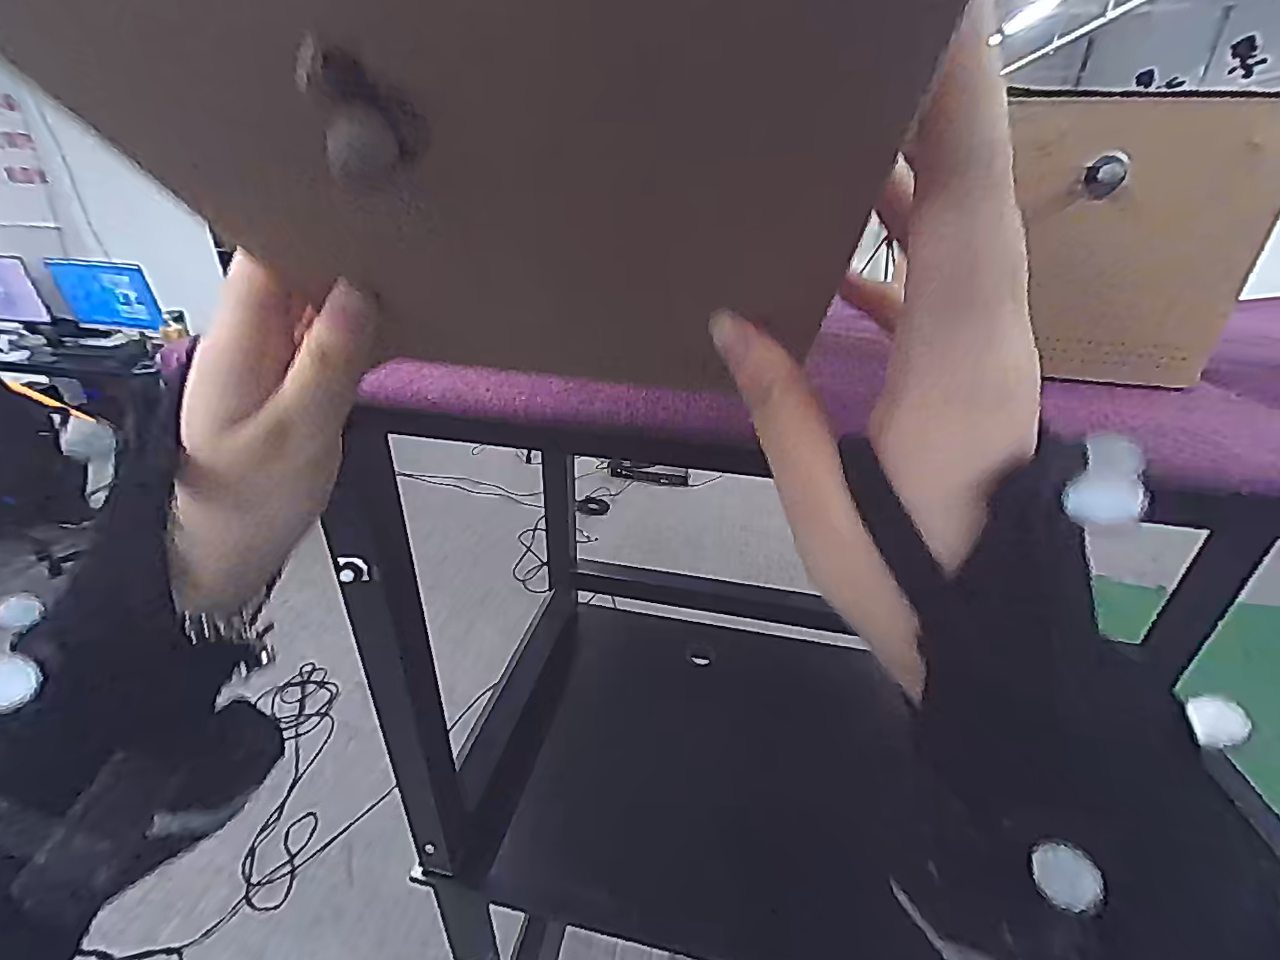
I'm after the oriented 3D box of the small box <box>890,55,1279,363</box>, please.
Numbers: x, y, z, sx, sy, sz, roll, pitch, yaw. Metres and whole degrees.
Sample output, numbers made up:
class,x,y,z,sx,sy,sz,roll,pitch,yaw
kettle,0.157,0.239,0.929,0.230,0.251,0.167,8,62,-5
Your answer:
class,x,y,z,sx,sy,sz,roll,pitch,yaw
small box,0.302,-0.189,0.404,0.179,0.176,0.168,8,27,10
